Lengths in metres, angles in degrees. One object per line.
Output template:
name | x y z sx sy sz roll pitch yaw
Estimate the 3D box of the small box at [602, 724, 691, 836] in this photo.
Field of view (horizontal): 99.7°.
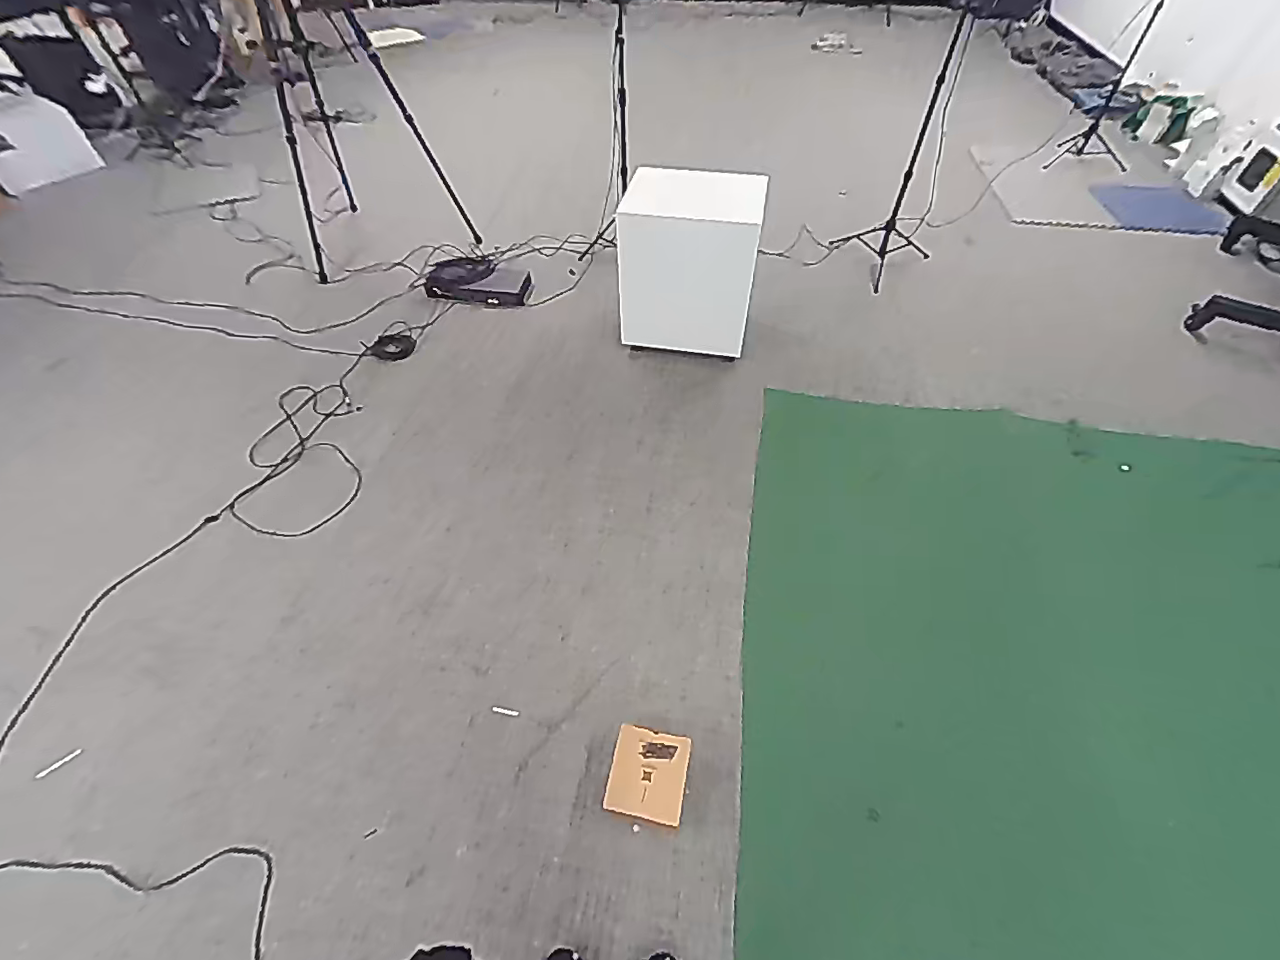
small box | 0.017 0.687 1.234 0.168 0.176 0.179 10 52 8
